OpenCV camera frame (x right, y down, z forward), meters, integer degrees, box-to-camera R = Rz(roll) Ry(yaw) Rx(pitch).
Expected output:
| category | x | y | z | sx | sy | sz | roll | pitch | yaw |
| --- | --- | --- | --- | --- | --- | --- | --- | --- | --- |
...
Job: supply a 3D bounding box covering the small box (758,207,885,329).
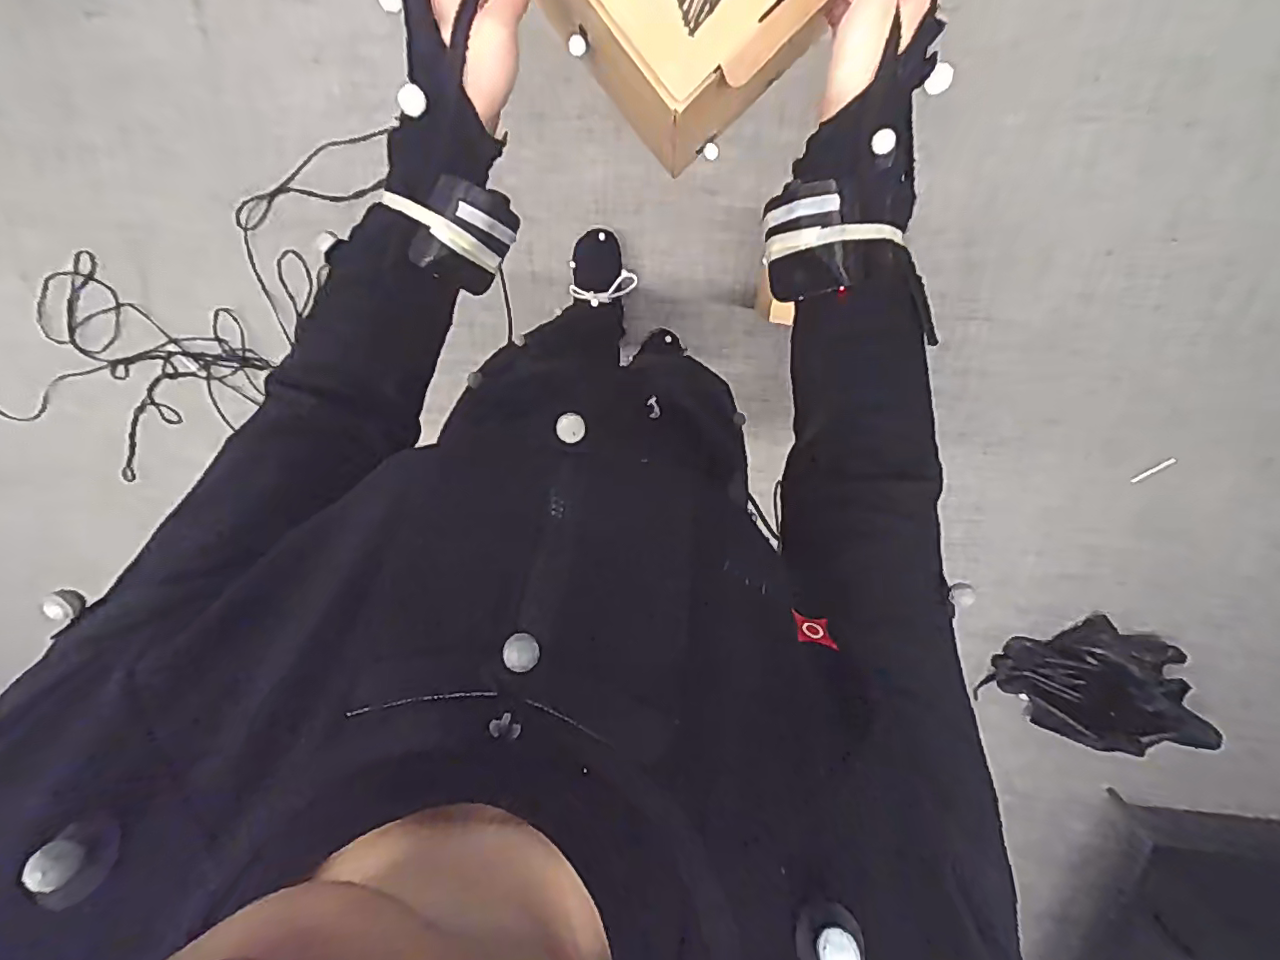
| category | x | y | z | sx | sy | sz | roll | pitch | yaw |
| --- | --- | --- | --- | --- | --- | --- | --- | --- | --- |
| small box | 0.317 | -0.381 | 0.987 | 0.168 | 0.176 | 0.179 | 8 | 109 | 2 |
